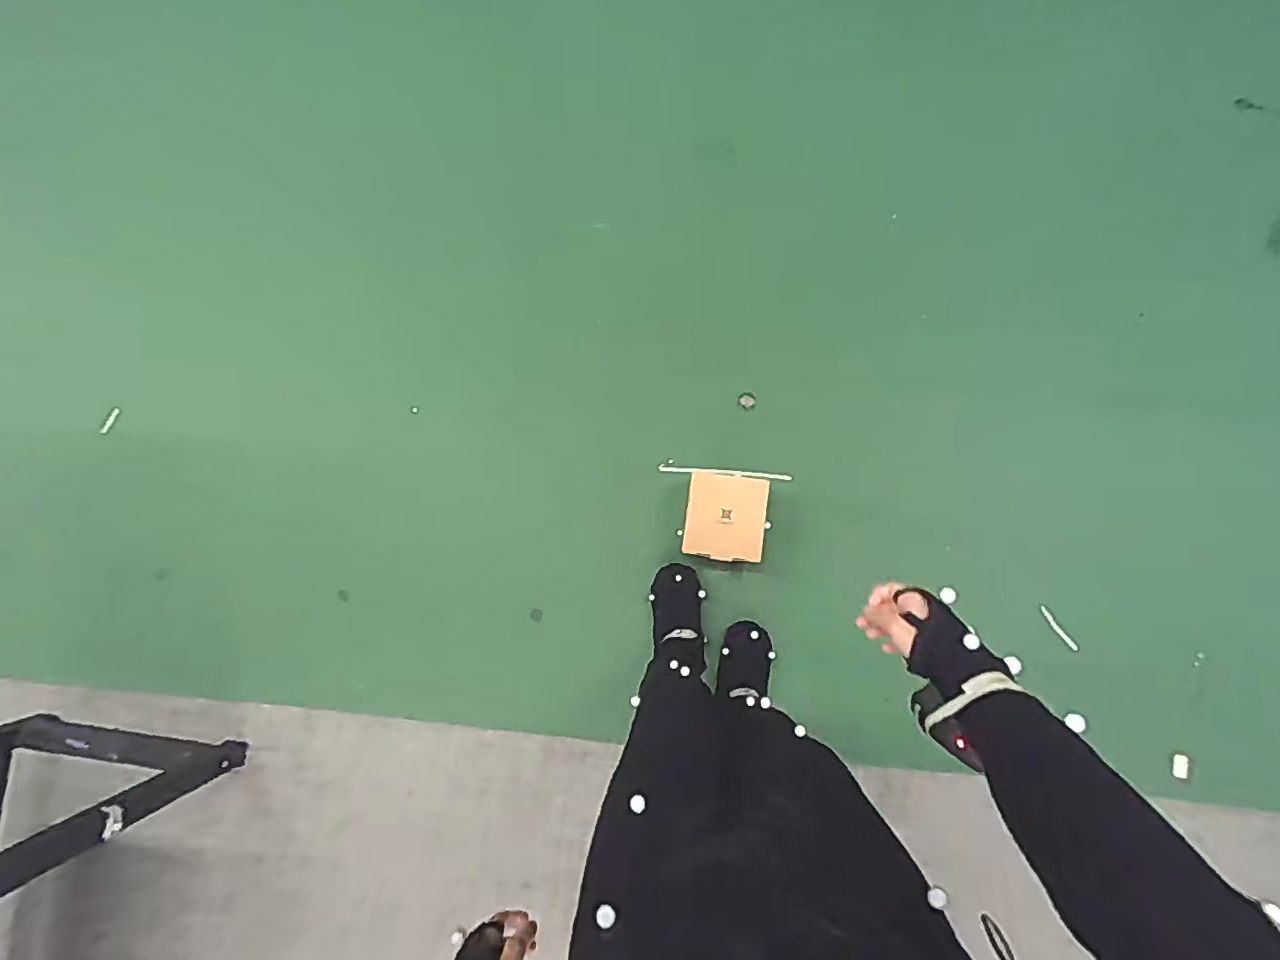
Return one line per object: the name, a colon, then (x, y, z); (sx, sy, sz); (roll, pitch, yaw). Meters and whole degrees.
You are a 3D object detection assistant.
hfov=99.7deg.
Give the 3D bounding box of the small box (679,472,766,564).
small box: (0.178, 0.085, 1.213); (0.168, 0.176, 0.179); (7, 87, 4)
